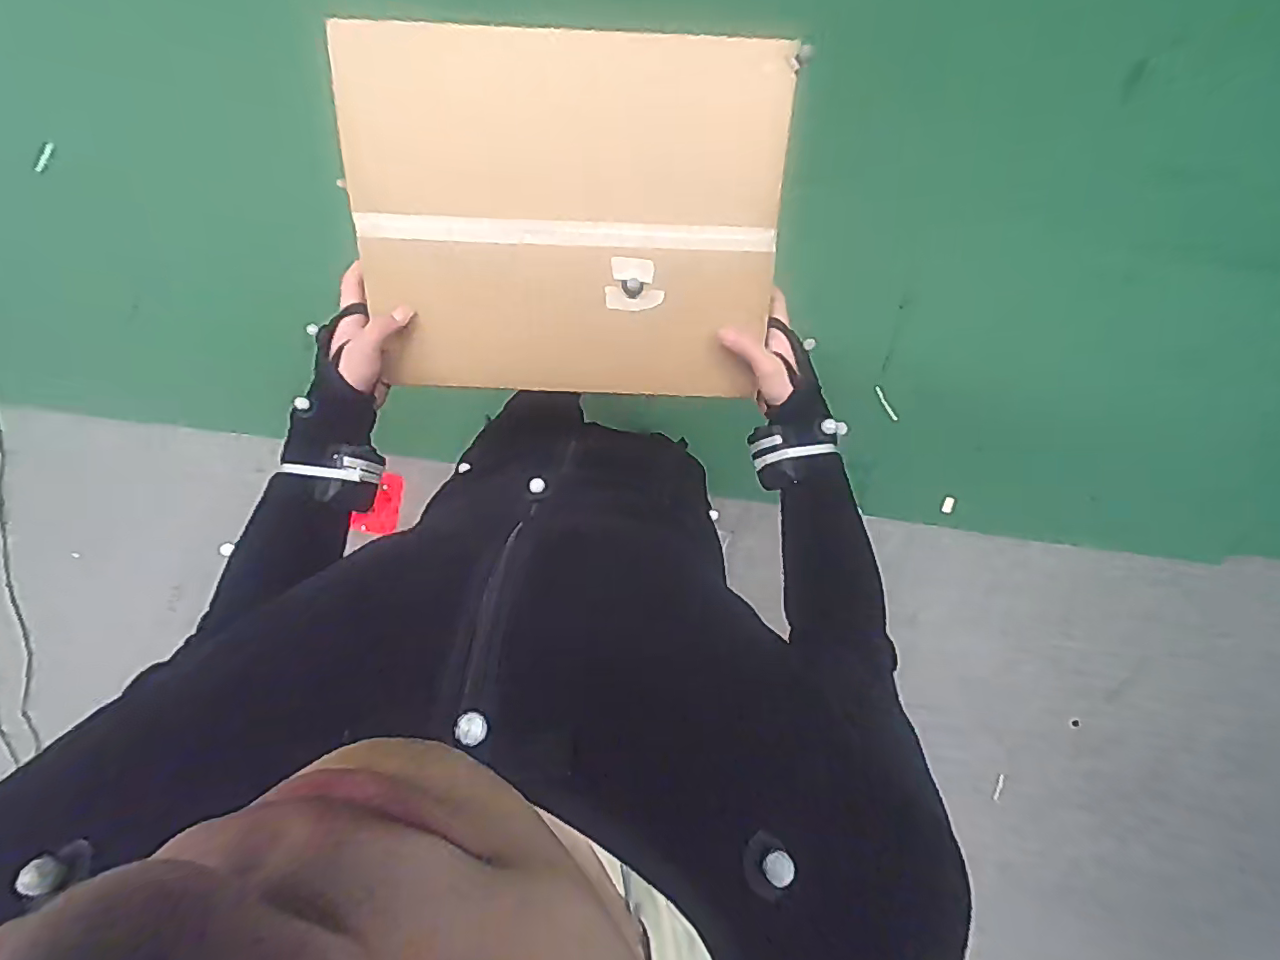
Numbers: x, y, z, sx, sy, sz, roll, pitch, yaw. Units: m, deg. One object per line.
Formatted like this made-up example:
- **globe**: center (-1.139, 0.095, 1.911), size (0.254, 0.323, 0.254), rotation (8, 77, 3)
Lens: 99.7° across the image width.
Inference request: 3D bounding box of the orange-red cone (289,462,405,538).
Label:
- **orange-red cone**: center (-0.819, 0.090, 1.456), size (0.199, 0.360, 0.198), rotation (15, 100, -2)

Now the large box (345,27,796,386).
- **large box**: center (-0.066, -0.304, 0.665), size (0.408, 0.320, 0.320), rotation (2, 114, -1)

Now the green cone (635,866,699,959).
- **green cone**: center (0.101, 1.513, 1.769), size (0.200, 0.368, 0.202), rotation (13, 100, -4)
